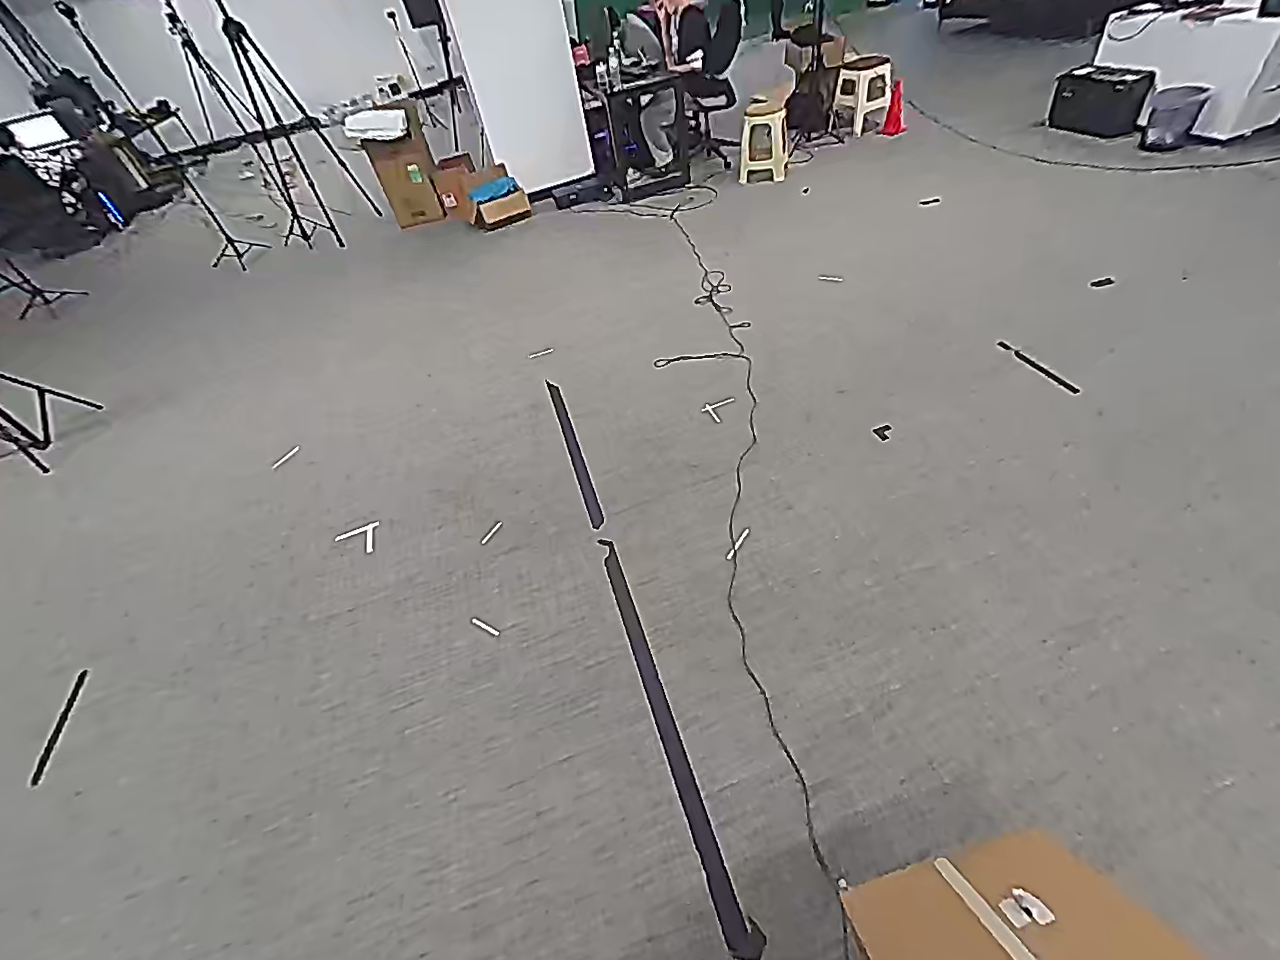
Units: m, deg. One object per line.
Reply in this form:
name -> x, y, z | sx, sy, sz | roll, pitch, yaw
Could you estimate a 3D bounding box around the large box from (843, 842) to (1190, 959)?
large box -> 0.485, 0.700, 0.589 | 0.320, 0.408, 0.320 | -17, 82, 0
